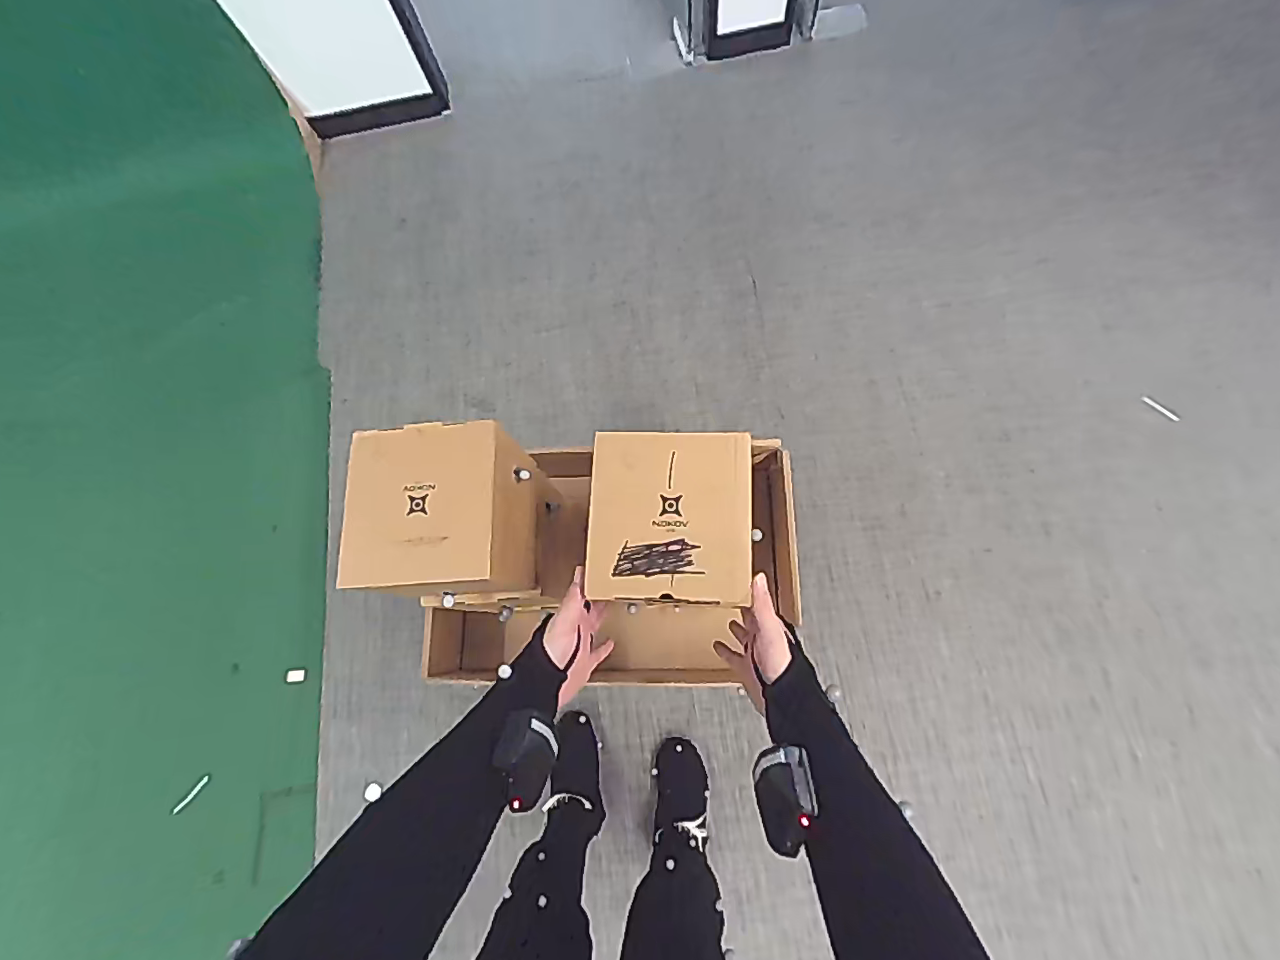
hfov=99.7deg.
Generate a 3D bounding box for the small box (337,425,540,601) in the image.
[{"bbox_3d":[-0.220,0.048,0.638,0.168,0.176,0.179,-3,75,5],"label":"small box"}]

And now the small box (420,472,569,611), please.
[{"bbox_3d":[-0.202,0.098,0.793,0.168,0.176,0.179,-4,76,4],"label":"small box"}]

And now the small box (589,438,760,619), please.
[{"bbox_3d":[0.043,0.061,0.615,0.168,0.176,0.179,2,77,6],"label":"small box"}]
